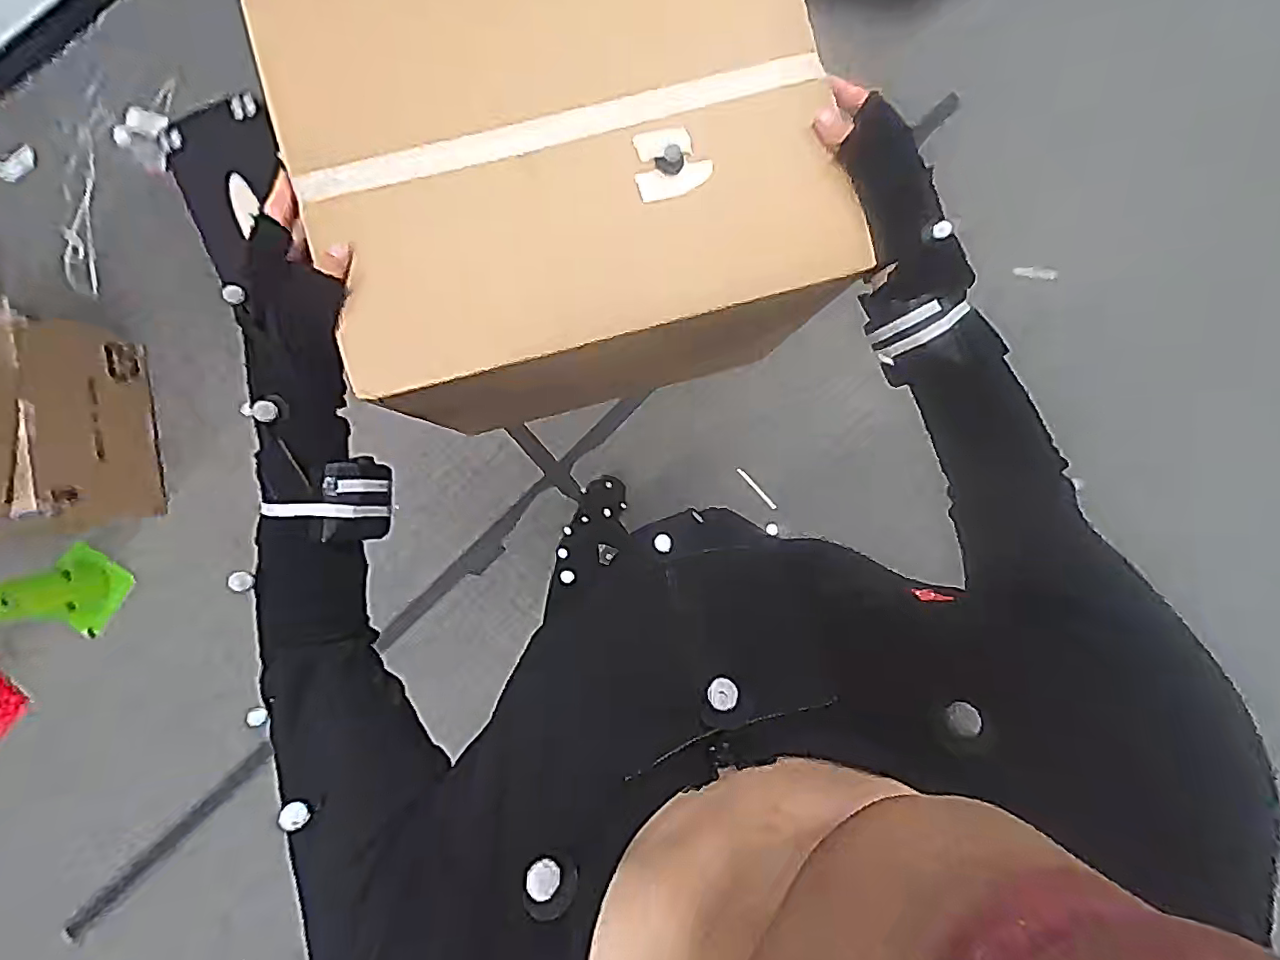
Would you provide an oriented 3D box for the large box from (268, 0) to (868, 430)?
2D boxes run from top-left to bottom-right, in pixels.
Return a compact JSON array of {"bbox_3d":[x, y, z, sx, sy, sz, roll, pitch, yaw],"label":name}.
[{"bbox_3d":[-0.059,-0.263,0.561,0.408,0.320,0.320,-15,91,-4],"label":"large box"}]
